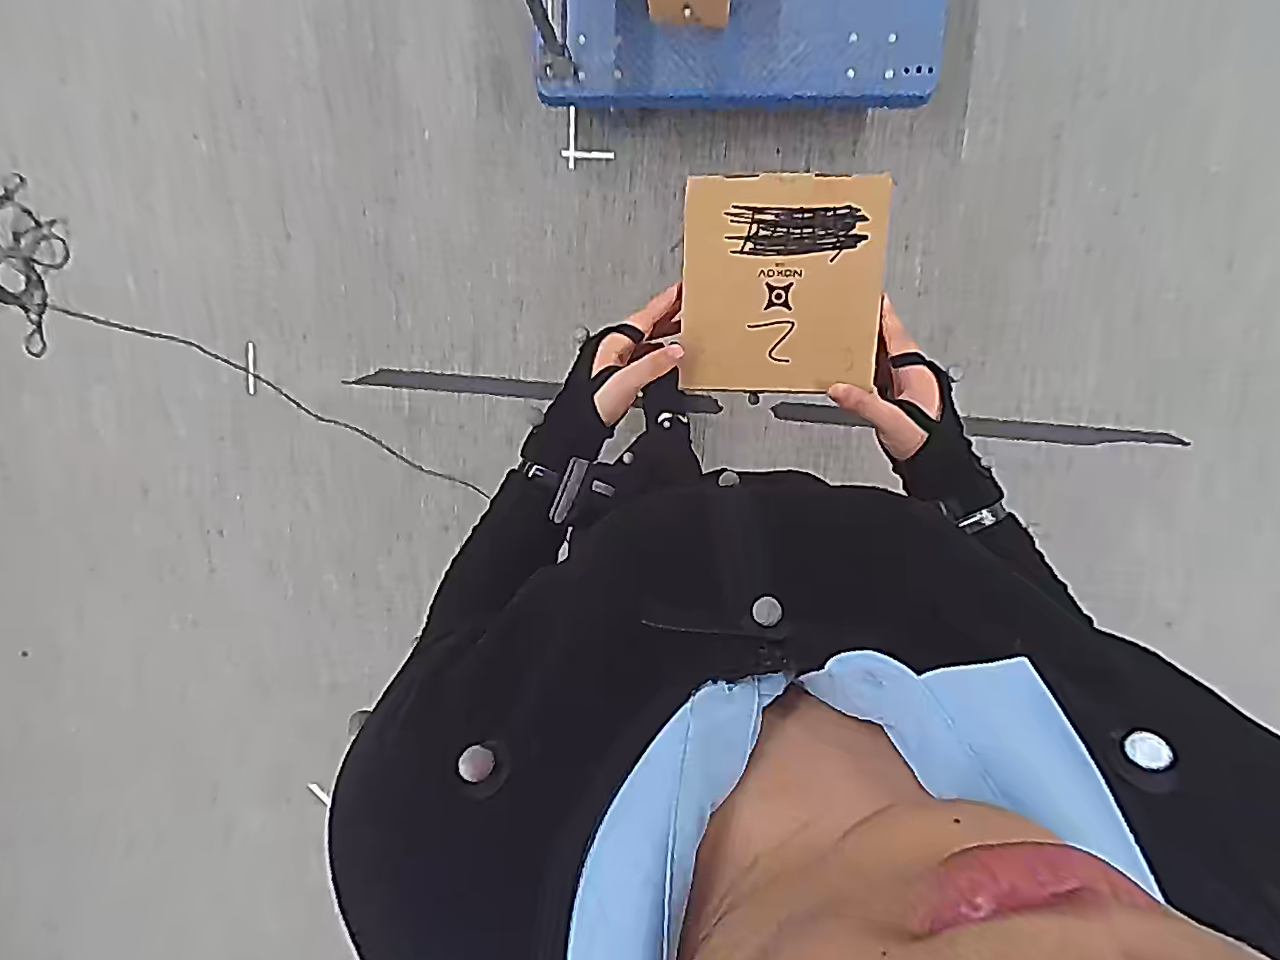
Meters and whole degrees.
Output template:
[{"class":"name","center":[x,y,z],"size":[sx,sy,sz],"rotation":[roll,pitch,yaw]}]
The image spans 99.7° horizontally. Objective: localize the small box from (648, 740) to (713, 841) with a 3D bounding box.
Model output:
[{"class":"small box","center":[0.113,0.859,1.507],"size":[0.168,0.176,0.179],"rotation":[3,97,3]}]

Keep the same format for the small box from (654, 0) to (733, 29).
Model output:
[{"class":"small box","center":[0.112,-1.042,1.058],"size":[0.168,0.176,0.179],"rotation":[7,98,3]}]
